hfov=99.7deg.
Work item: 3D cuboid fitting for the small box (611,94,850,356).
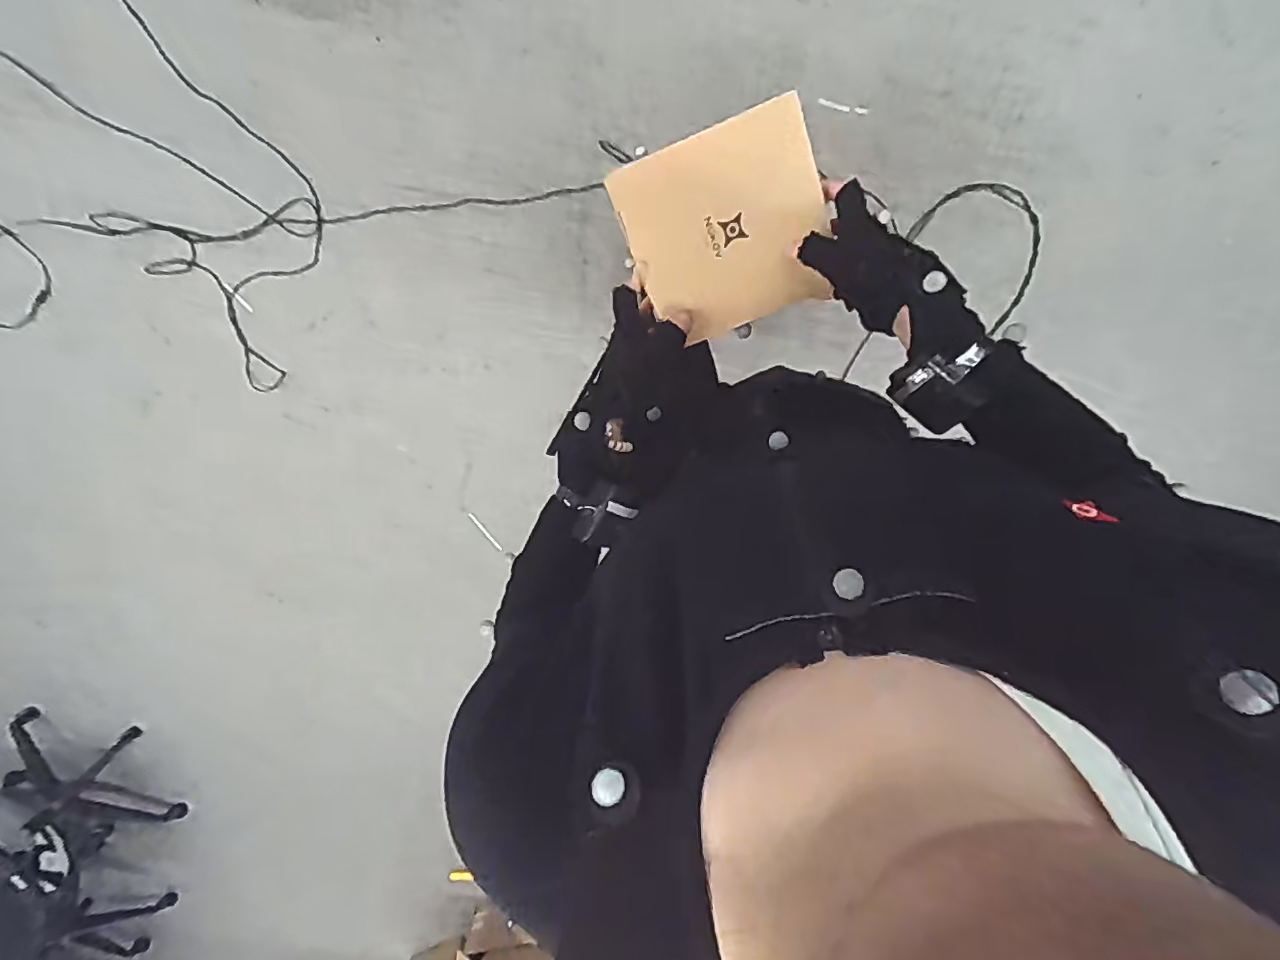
[{"bbox_3d":[0.083,-0.245,0.550,0.179,0.176,0.168,-20,109,10],"label":"small box"}]
